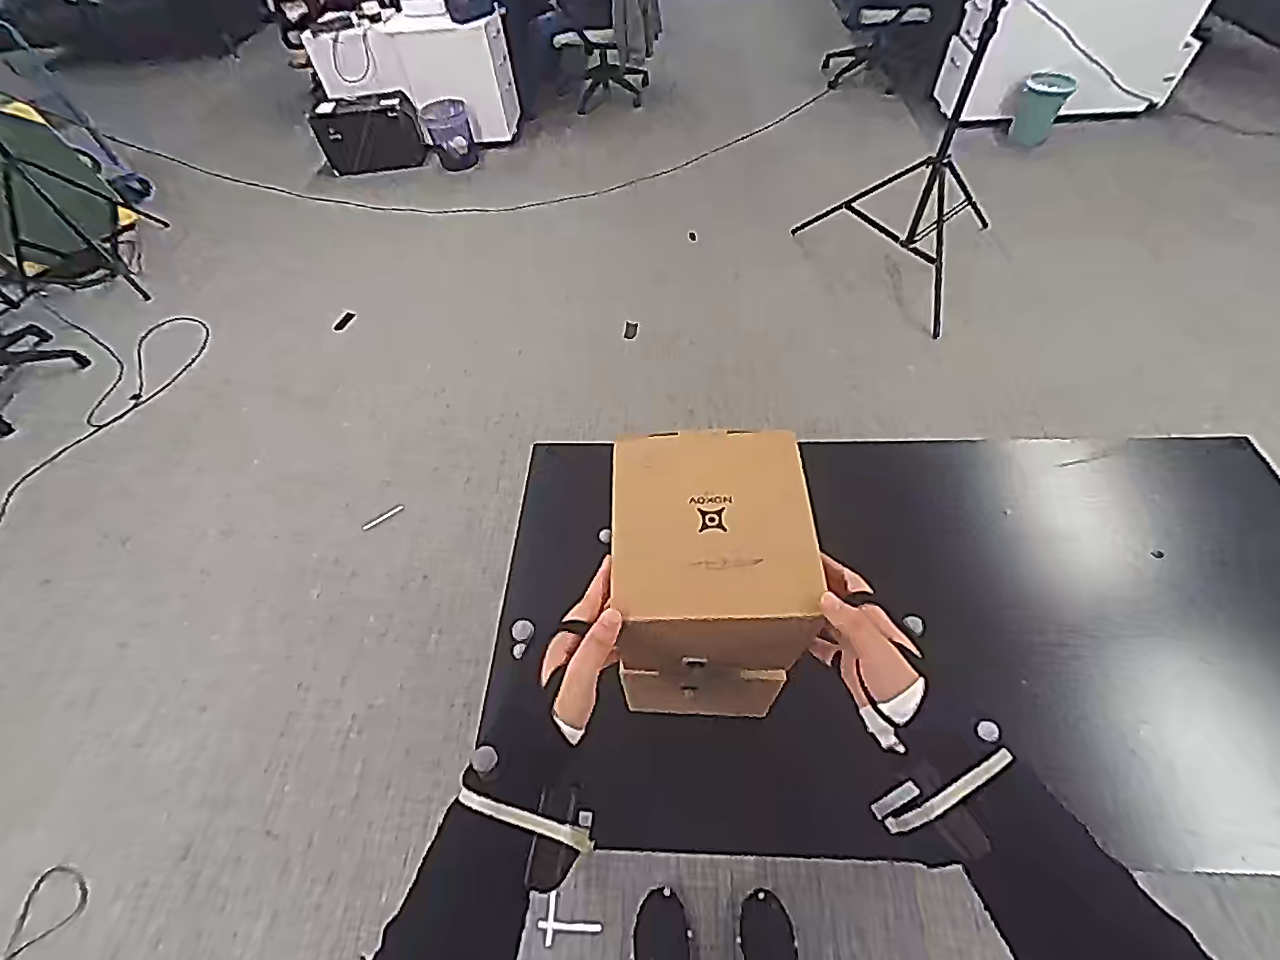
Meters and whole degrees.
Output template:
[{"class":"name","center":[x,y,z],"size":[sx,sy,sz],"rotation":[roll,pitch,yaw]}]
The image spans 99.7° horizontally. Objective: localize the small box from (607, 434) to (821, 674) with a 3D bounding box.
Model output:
[{"class":"small box","center":[0.059,0.075,0.520],"size":[0.168,0.176,0.179],"rotation":[-2,56,2]}]

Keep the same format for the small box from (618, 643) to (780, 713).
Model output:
[{"class":"small box","center":[0.071,0.189,0.685],"size":[0.179,0.176,0.168],"rotation":[1,54,4]}]
